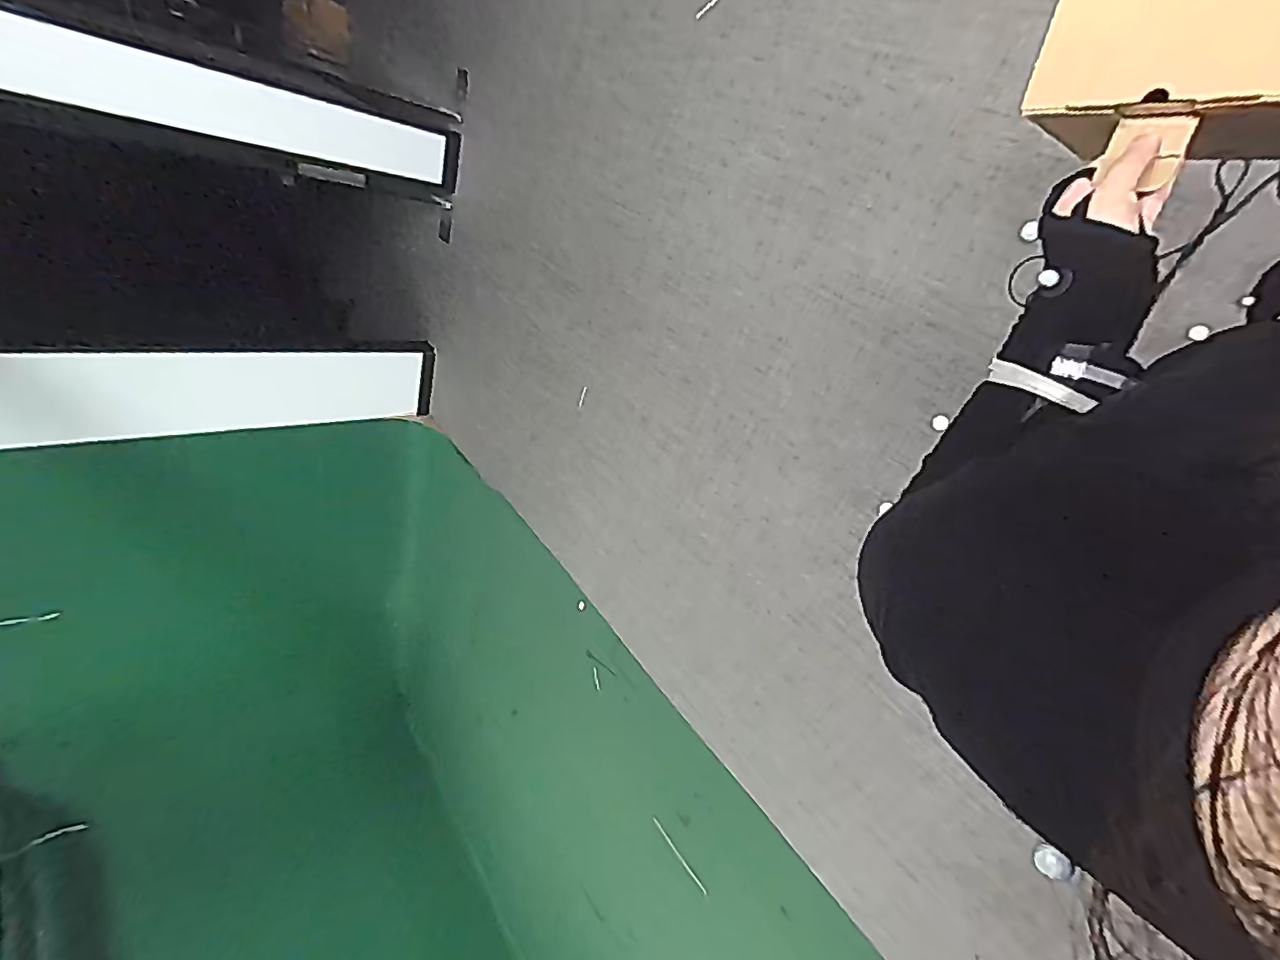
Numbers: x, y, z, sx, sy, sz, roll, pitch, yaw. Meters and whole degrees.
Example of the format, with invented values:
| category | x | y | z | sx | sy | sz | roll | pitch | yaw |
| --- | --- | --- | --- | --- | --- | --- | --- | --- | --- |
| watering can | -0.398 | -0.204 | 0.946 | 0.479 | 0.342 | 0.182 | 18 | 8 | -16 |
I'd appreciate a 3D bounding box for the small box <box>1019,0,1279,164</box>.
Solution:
| category | x | y | z | sx | sy | sz | roll | pitch | yaw |
| --- | --- | --- | --- | --- | --- | --- | --- | --- | --- |
| small box | 0.422 | -0.345 | 0.388 | 0.168 | 0.176 | 0.179 | 33 | 124 | 43 |
